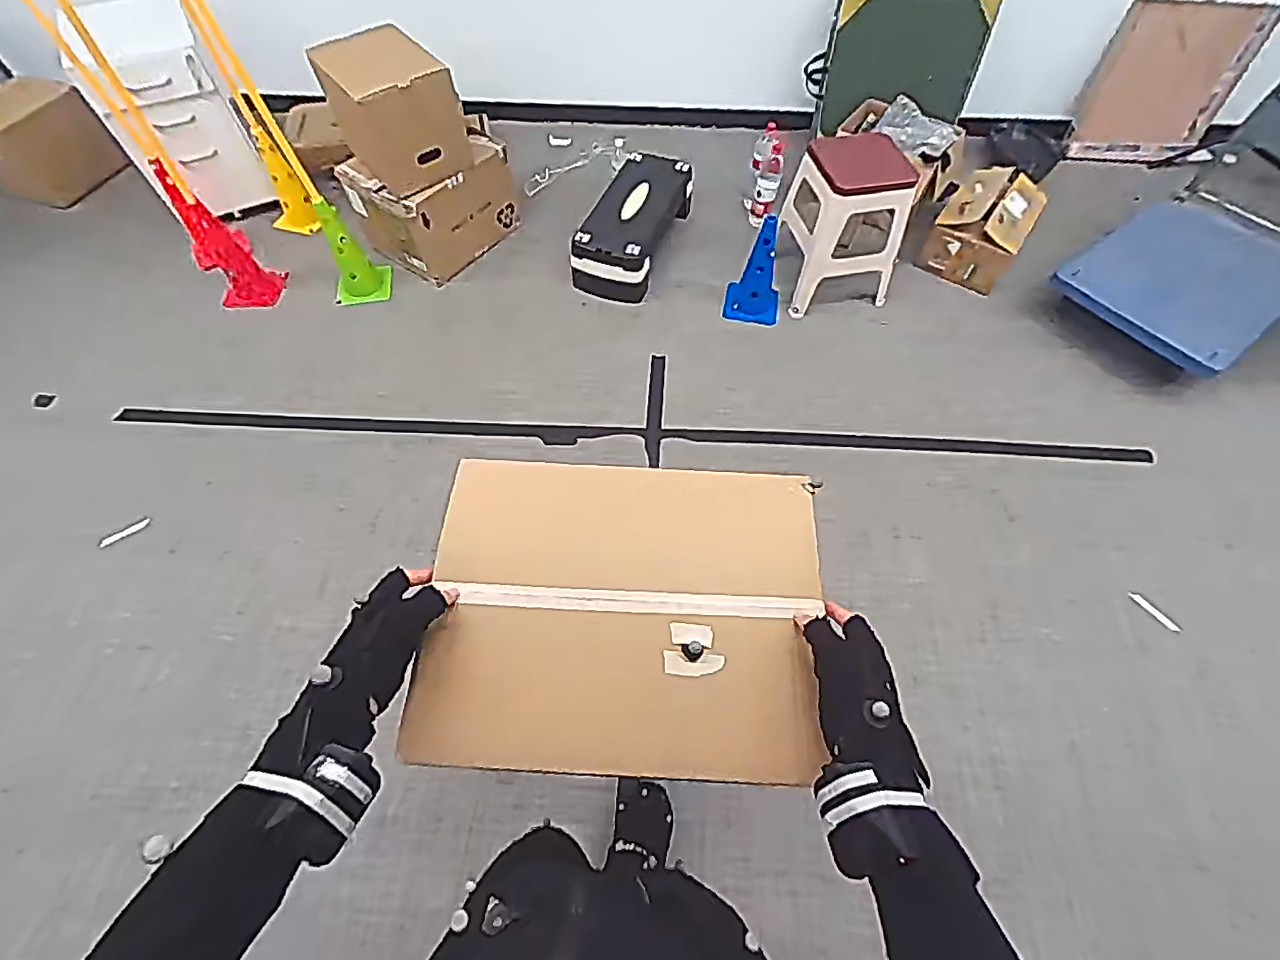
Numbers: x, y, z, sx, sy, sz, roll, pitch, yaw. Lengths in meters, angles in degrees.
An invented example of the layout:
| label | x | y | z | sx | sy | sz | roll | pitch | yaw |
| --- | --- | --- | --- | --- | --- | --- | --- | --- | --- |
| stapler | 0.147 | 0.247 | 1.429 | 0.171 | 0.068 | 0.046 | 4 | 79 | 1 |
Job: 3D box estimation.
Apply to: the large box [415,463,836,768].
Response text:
| label | x | y | z | sx | sy | sz | roll | pitch | yaw |
| --- | --- | --- | --- | --- | --- | --- | --- | --- | --- |
| large box | -0.014 | 0.191 | 0.701 | 0.408 | 0.320 | 0.320 | 3 | 64 | 0 |
